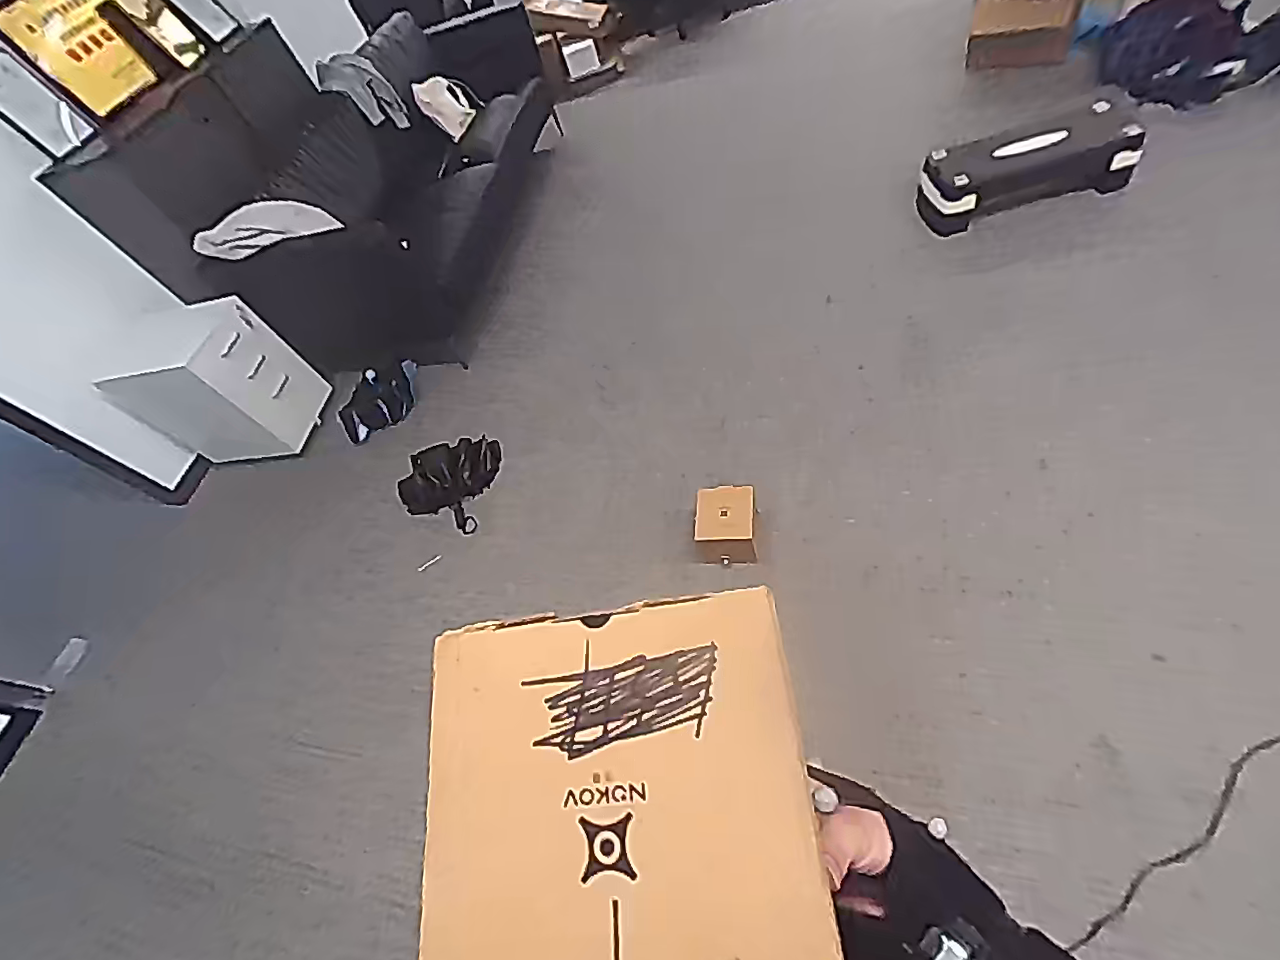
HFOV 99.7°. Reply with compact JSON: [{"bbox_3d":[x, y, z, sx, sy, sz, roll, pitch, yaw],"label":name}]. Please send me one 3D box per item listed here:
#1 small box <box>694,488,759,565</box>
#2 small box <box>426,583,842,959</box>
[{"bbox_3d":[0.263,0.143,1.625,0.168,0.176,0.179,-5,57,18],"label":"small box"},{"bbox_3d":[0.004,0.169,0.301,0.168,0.176,0.179,-10,67,8],"label":"small box"}]
